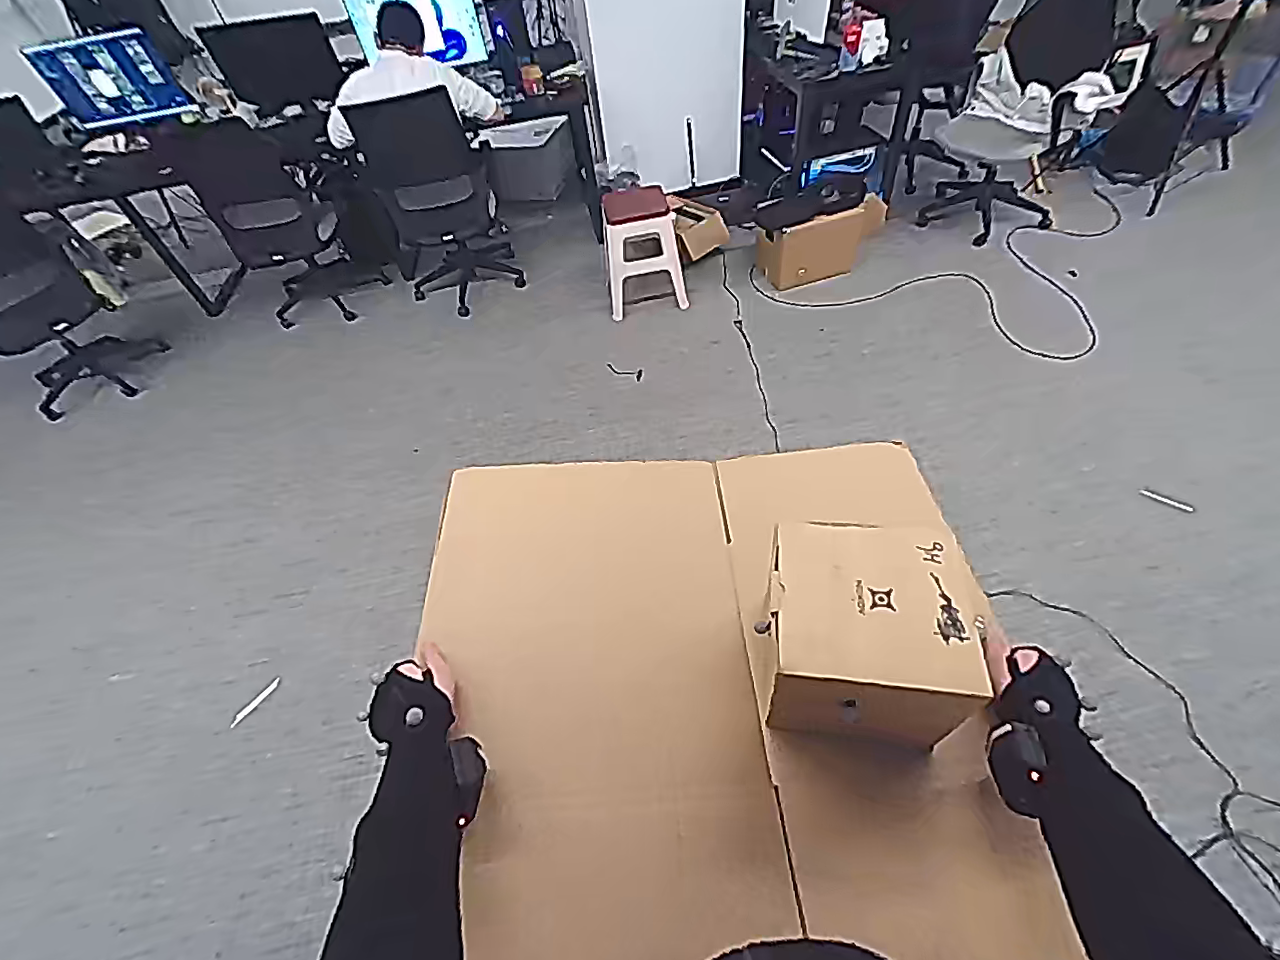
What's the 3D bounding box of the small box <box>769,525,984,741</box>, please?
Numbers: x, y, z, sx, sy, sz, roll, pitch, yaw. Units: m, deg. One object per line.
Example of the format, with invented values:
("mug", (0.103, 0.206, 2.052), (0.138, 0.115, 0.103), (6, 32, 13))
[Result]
("small box", (0.230, 0.165, 0.580), (0.179, 0.176, 0.168), (2, 51, 12))
